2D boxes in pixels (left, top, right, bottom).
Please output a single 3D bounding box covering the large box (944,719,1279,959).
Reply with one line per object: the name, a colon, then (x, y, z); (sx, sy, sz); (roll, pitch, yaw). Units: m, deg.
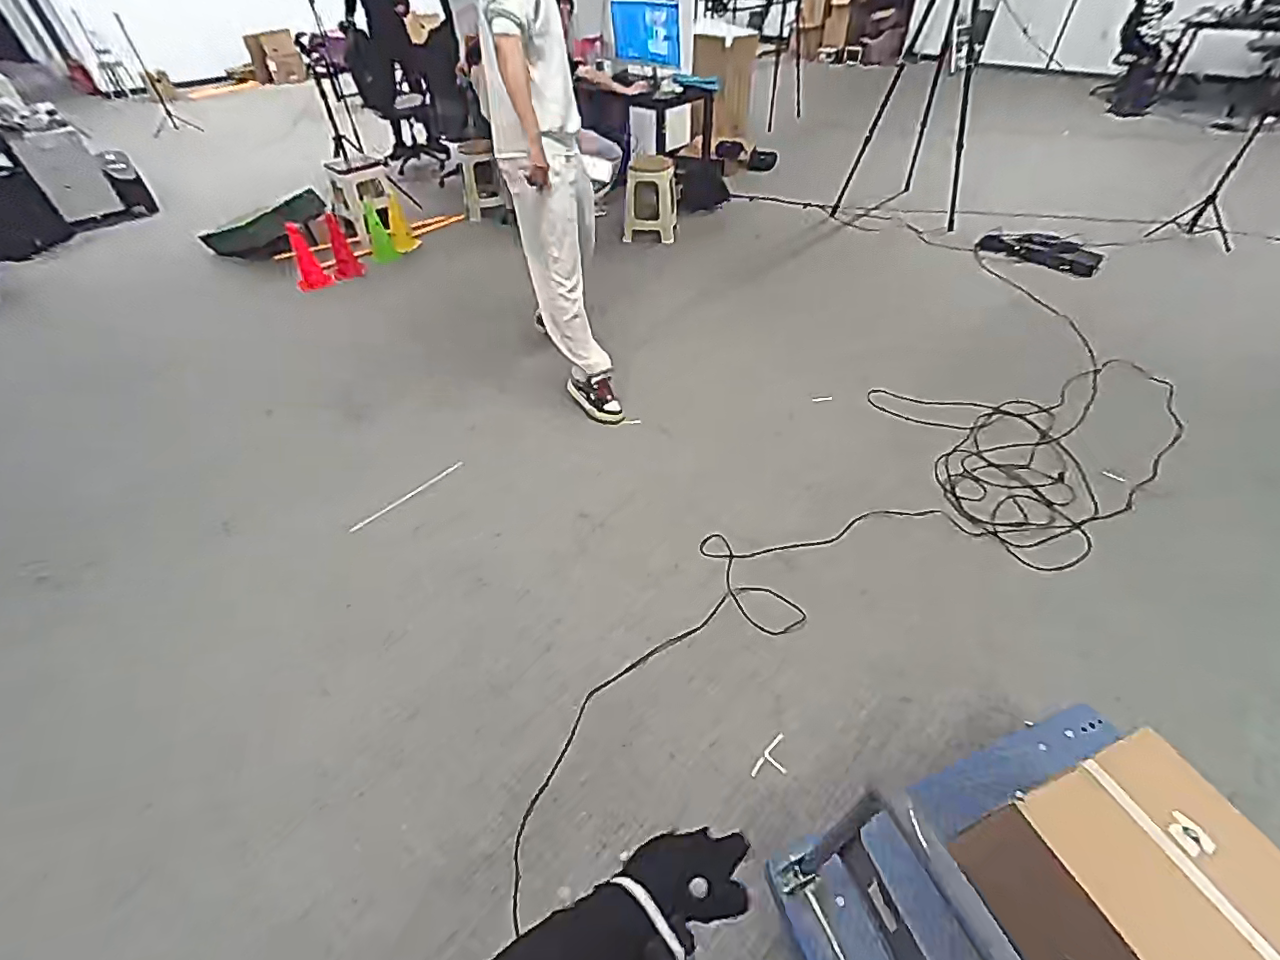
large box: (0.820, 0.701, 0.901); (0.320, 0.320, 0.408); (-17, 46, -14)
